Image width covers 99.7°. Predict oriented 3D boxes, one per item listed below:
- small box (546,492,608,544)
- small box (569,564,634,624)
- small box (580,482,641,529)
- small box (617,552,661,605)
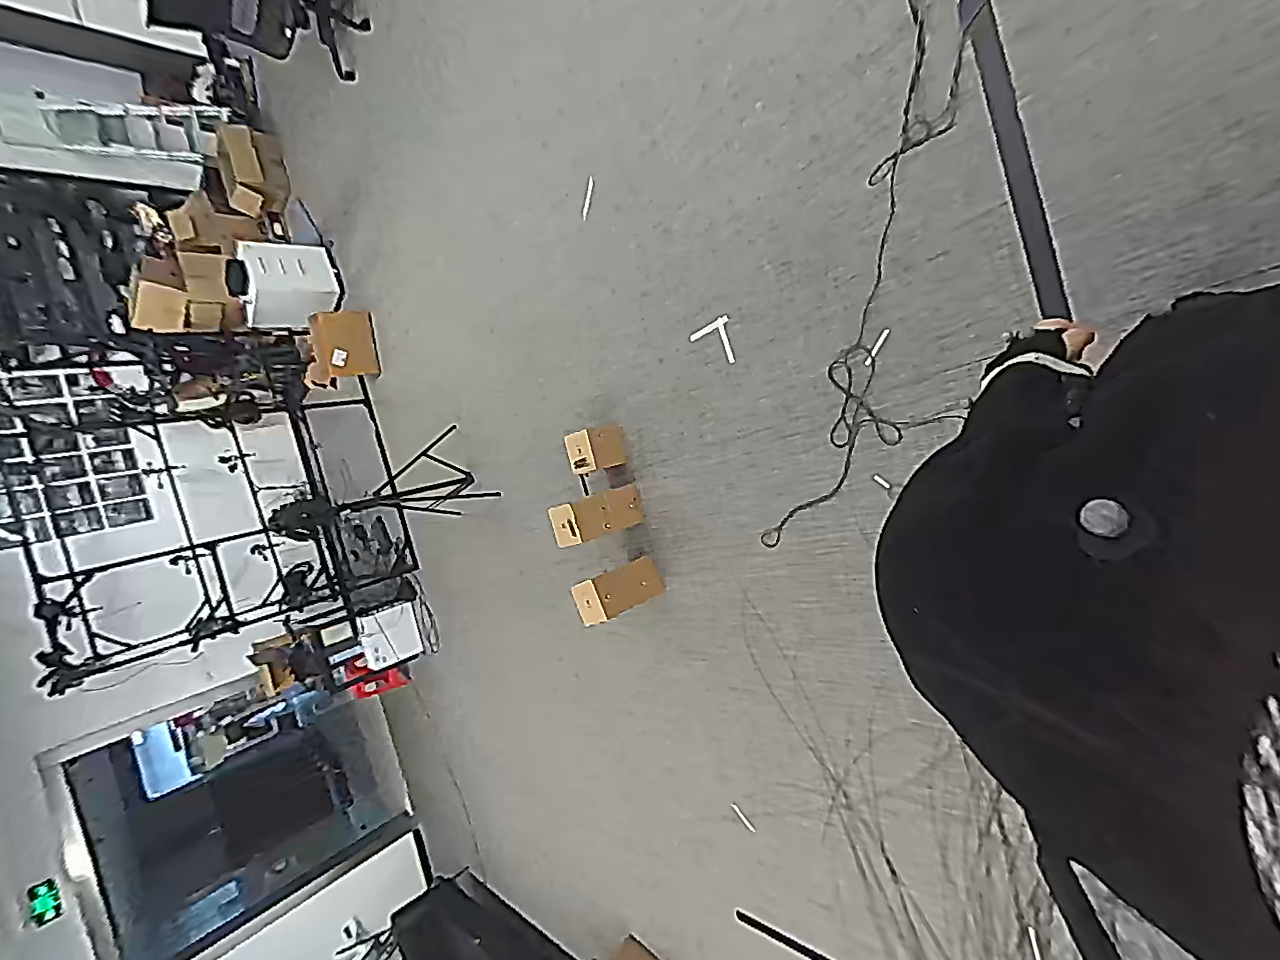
[{"bbox_3d":[-0.248,0.153,2.200,0.179,0.176,0.168,-16,91,48],"label":"small box"},{"bbox_3d":[-0.154,0.463,2.206,0.168,0.176,0.179,-31,79,46],"label":"small box"},{"bbox_3d":[-0.126,0.112,2.303,0.179,0.176,0.168,-11,95,47],"label":"small box"},{"bbox_3d":[-0.038,0.430,2.315,0.168,0.176,0.179,-33,79,46],"label":"small box"}]
